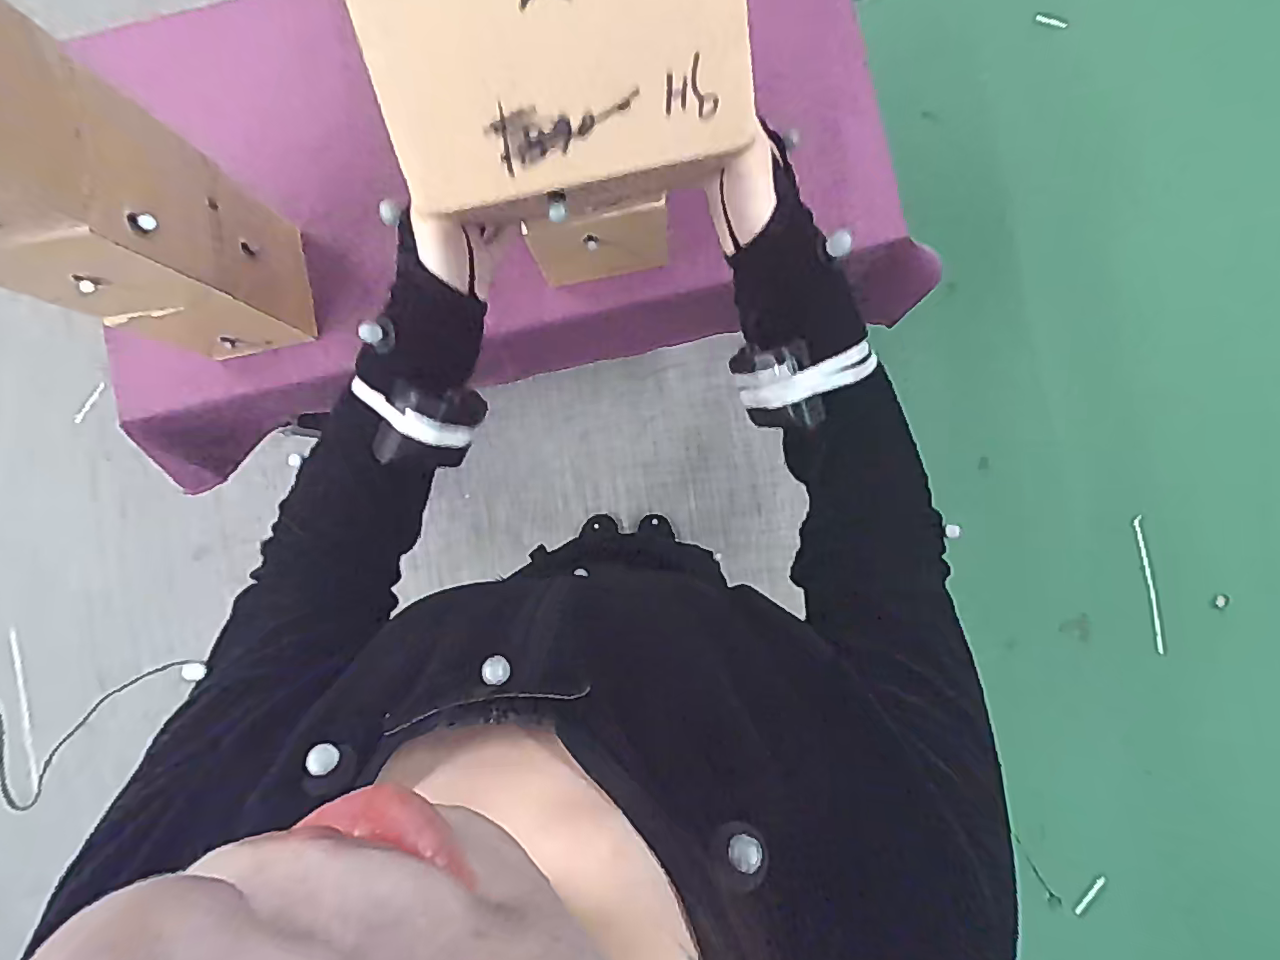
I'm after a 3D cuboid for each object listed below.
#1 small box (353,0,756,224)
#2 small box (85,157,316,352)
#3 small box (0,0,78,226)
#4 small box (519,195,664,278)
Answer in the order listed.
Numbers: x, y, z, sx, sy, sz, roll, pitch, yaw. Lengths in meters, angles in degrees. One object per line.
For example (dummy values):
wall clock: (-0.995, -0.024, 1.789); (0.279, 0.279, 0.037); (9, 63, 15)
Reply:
small box: (-0.044, -0.250, 0.292); (0.168, 0.176, 0.179); (-11, 114, 3)
small box: (-0.579, -0.292, 0.735); (0.168, 0.176, 0.179); (-11, 89, 2)
small box: (-0.588, -0.306, 0.407); (0.168, 0.176, 0.179); (-10, 88, 1)
small box: (-0.066, -0.387, 0.716); (0.179, 0.176, 0.168); (-10, 89, 2)
